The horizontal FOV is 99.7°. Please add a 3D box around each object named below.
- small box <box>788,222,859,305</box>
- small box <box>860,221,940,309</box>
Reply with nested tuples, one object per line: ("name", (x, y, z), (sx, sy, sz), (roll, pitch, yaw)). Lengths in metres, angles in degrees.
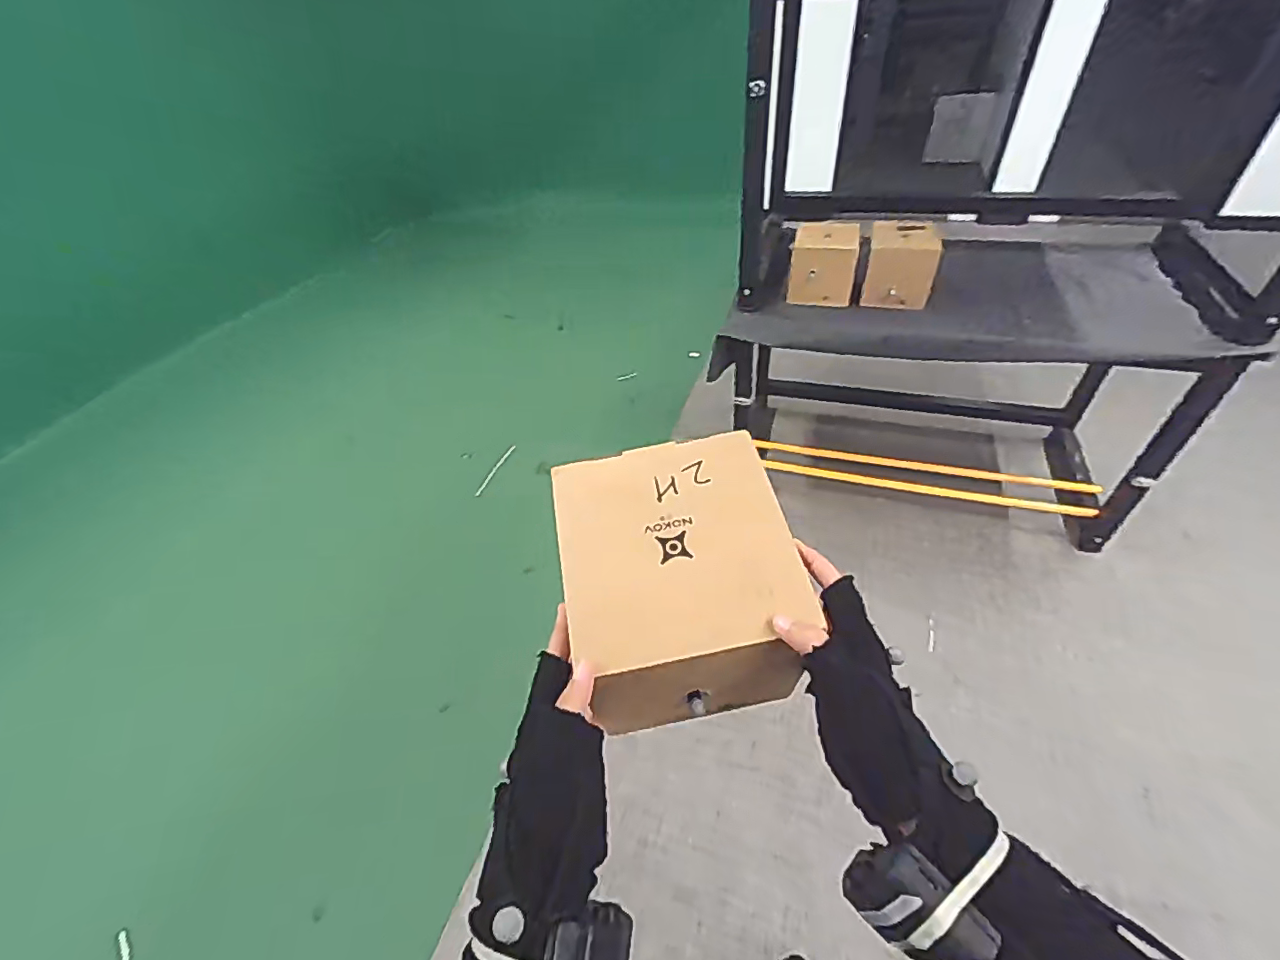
("small box", (0.515, -0.610, 1.525), (0.168, 0.176, 0.179), (9, 46, 15))
("small box", (0.705, -0.589, 1.478), (0.168, 0.176, 0.179), (9, 47, 17))
